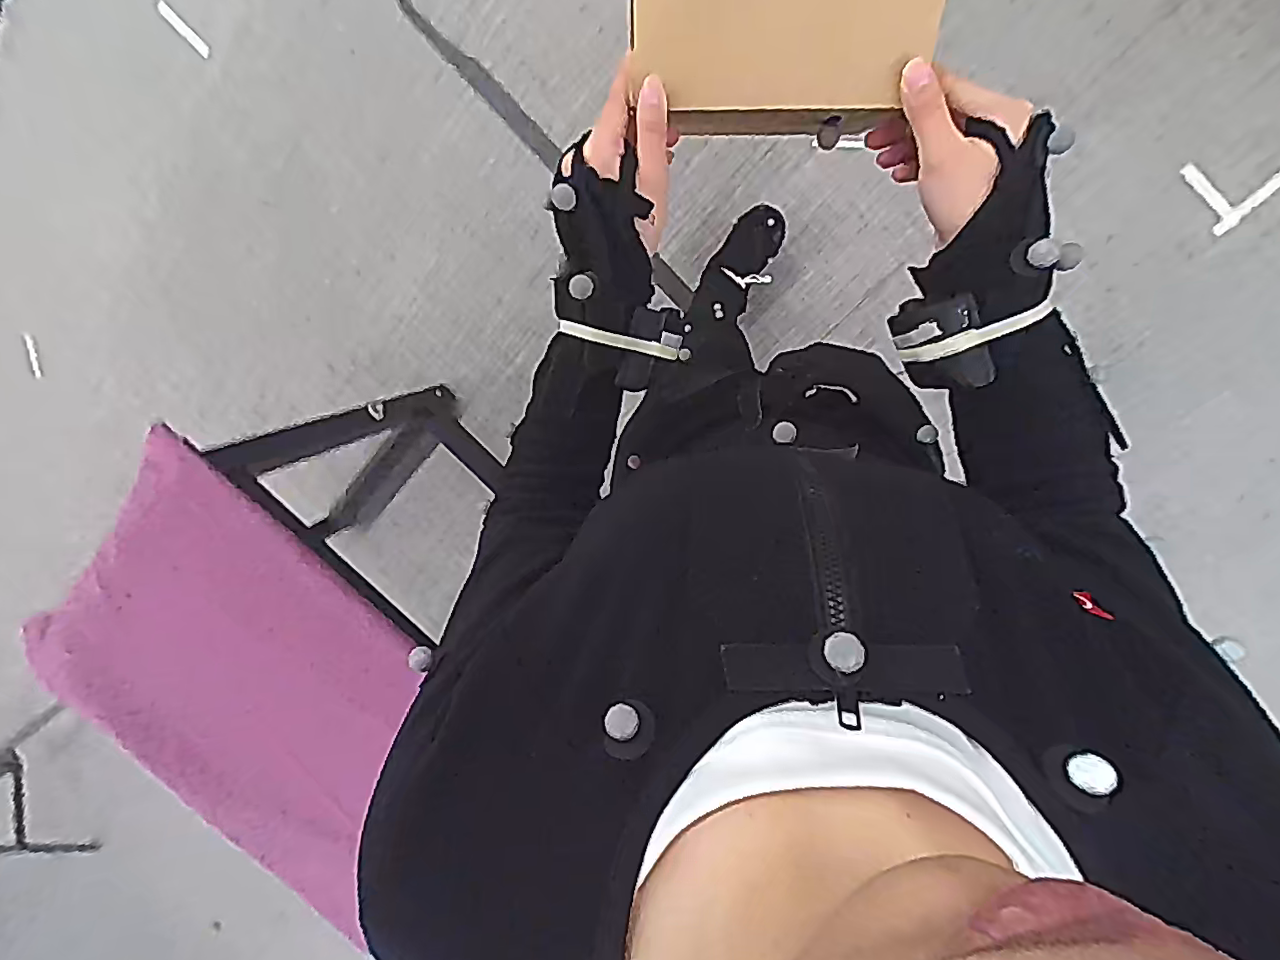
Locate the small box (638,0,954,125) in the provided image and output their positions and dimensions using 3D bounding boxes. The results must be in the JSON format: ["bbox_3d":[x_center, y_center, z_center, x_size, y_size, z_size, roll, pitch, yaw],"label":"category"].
[{"bbox_3d":[0.096,-0.340,0.354,0.179,0.176,0.168,5,118,6],"label":"small box"}]
